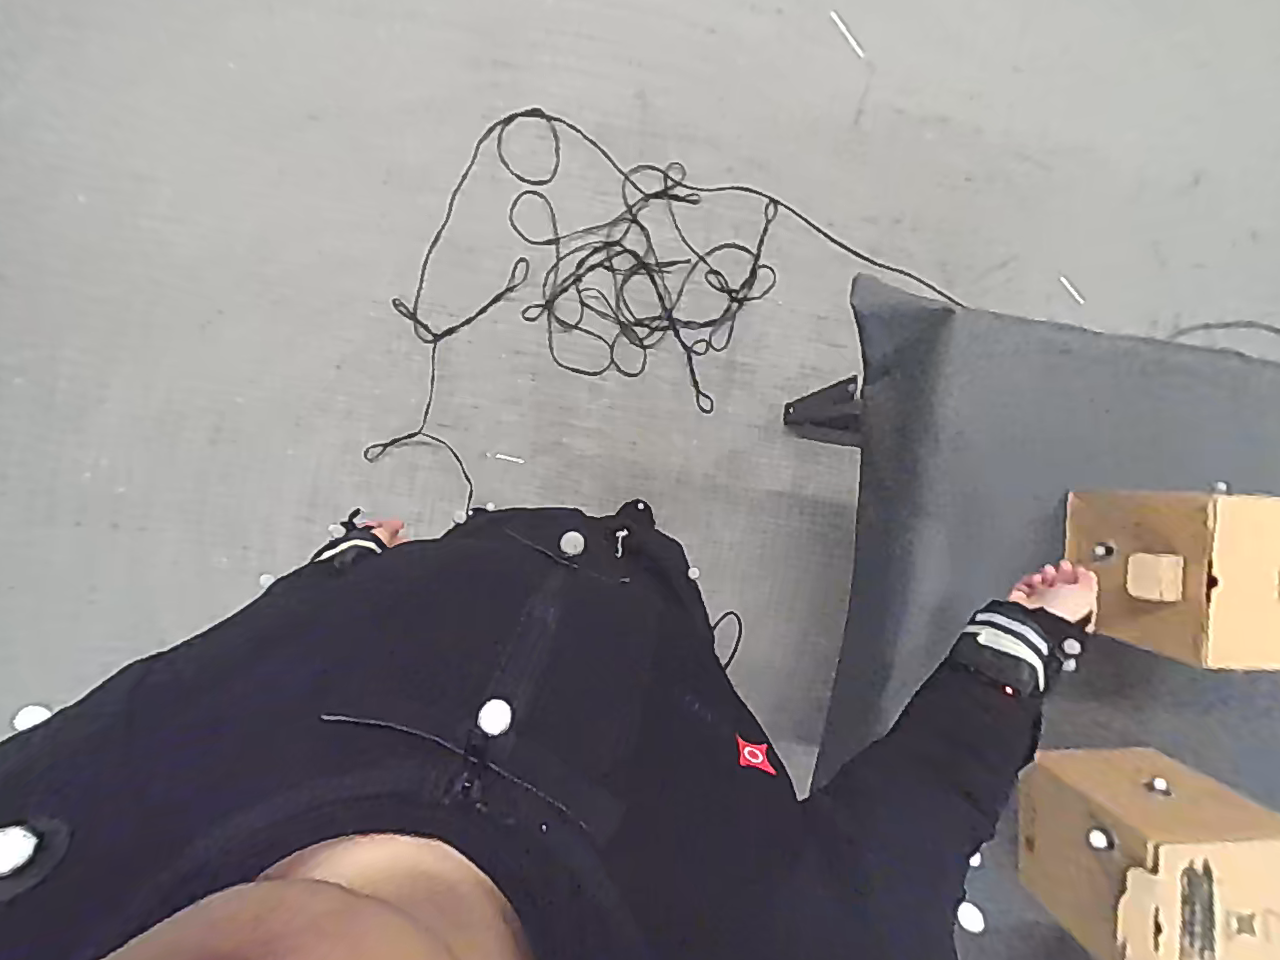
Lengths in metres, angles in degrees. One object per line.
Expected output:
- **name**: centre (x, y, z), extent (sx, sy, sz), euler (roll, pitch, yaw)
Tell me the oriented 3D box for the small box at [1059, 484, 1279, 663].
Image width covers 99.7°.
- **small box**: centre (0.619, 0.091, 0.598), extent (0.179, 0.176, 0.168), euler (1, 92, -2)
